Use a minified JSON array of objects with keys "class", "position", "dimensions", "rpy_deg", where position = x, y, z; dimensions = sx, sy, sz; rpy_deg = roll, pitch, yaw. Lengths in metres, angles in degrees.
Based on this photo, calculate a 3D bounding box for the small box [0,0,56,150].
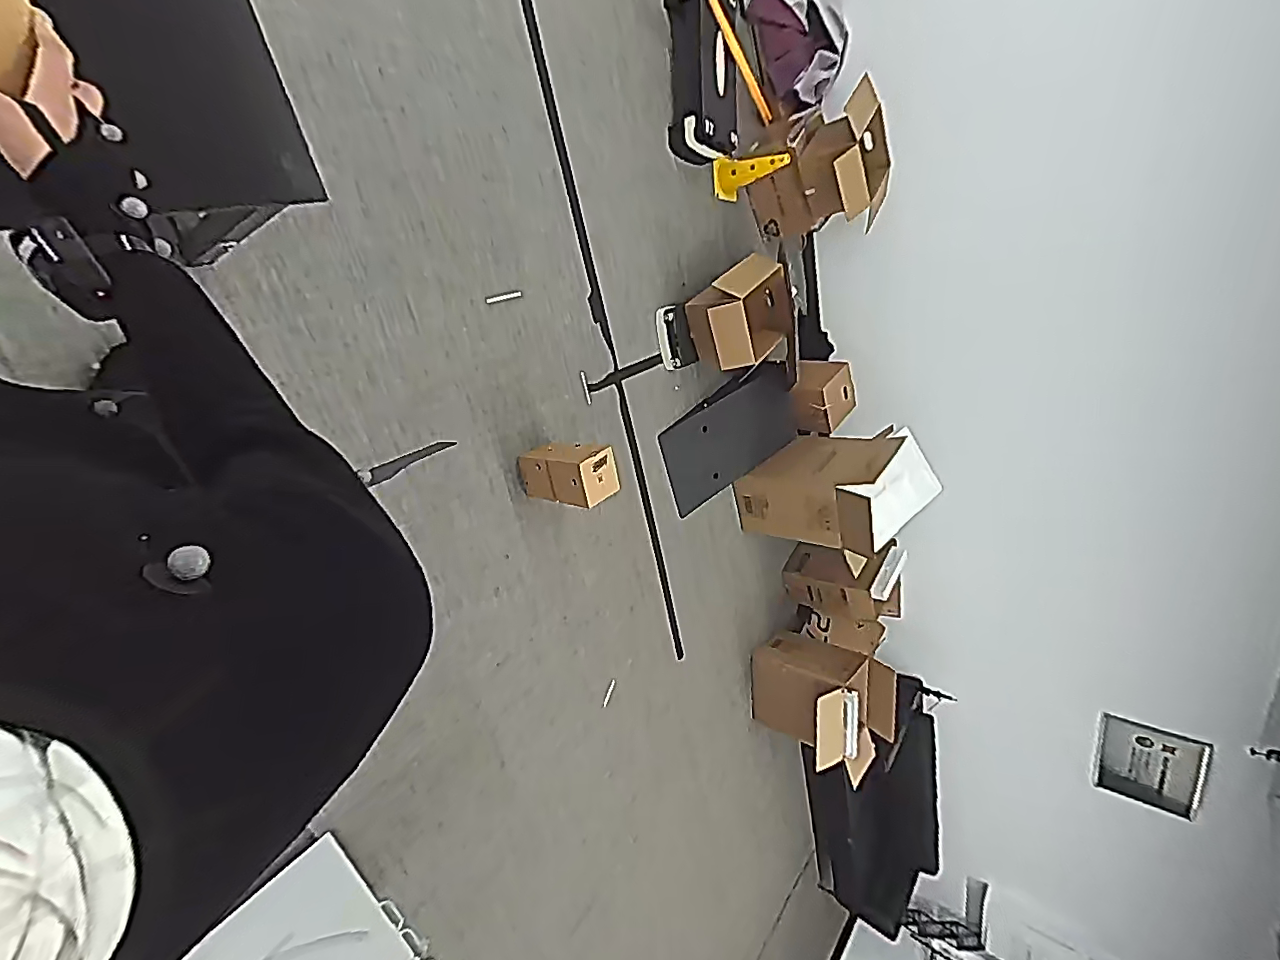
[{"class":"small box","position":[-0.576,-0.373,0.394],"dimensions":[0.168,0.176,0.179],"rpy_deg":[-14,112,-54]}]

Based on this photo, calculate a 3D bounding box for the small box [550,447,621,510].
[{"class":"small box","position":[-0.197,-0.012,1.934],"dimensions":[0.168,0.176,0.179],"rpy_deg":[-34,121,-41]}]
